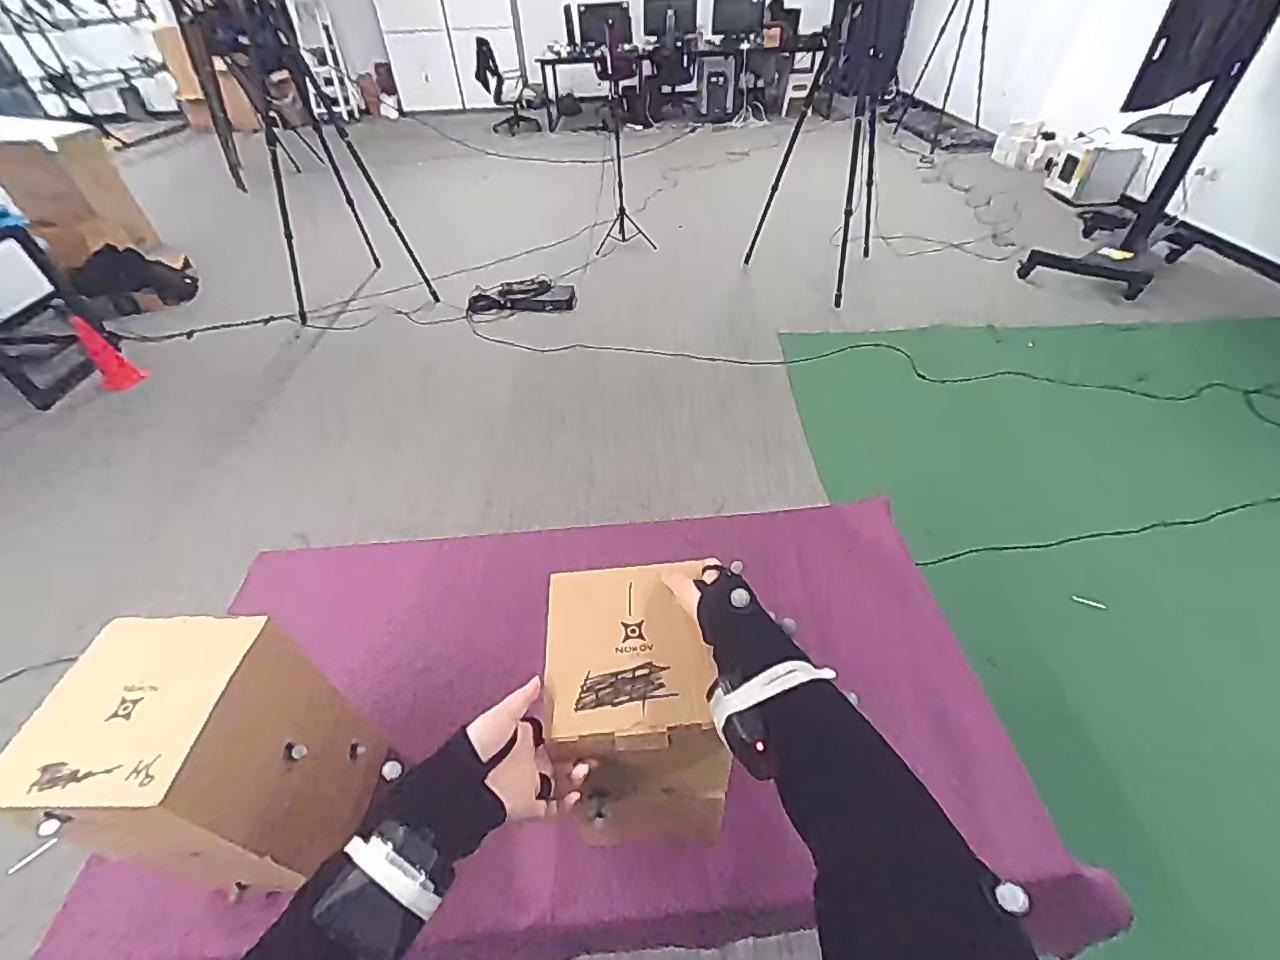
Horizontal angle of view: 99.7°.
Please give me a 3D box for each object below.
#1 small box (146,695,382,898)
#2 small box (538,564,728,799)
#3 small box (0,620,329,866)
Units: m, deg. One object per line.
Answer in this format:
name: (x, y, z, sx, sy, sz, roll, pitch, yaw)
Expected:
small box: (-0.443, 0.383, 0.660, 0.168, 0.176, 0.179, -2, 44, 3)
small box: (-0.005, 0.214, 0.568, 0.168, 0.176, 0.179, -5, 41, -1)
small box: (-0.452, 0.263, 0.547, 0.168, 0.176, 0.179, -2, 42, 4)
